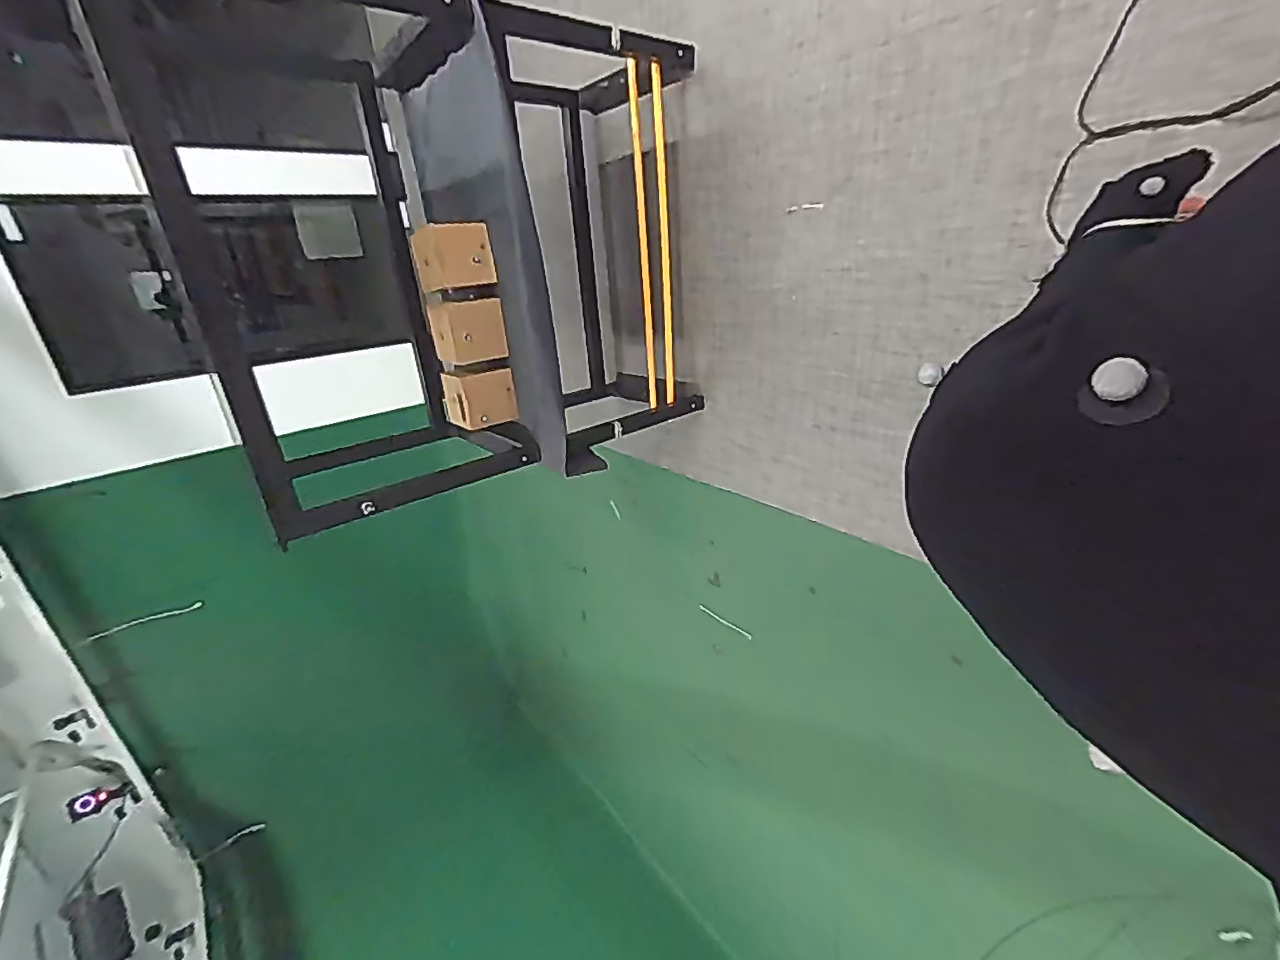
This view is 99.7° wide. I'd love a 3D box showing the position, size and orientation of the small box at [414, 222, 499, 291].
[{"bbox_3d":[-0.540,-0.656,1.594,0.179,0.176,0.168,13,118,49],"label":"small box"}]
